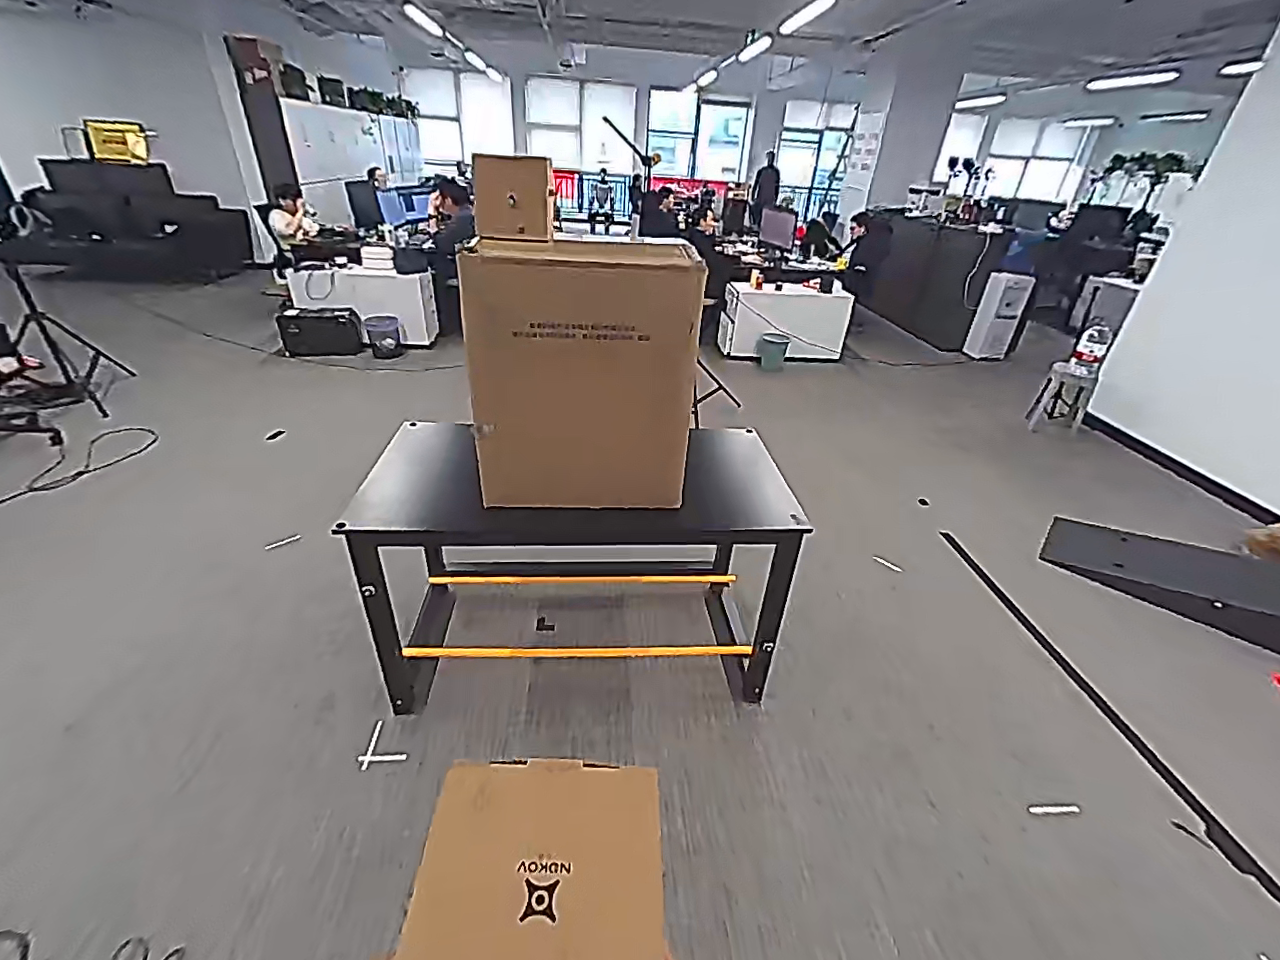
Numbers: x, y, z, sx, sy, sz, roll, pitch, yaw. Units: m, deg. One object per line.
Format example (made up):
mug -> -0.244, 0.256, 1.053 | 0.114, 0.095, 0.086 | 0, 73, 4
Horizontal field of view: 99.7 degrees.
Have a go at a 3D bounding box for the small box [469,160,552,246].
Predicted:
small box -> -0.298, -0.655, 1.279 | 0.168, 0.176, 0.179 | 1, 30, -6

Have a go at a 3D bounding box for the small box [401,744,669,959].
small box -> -0.072, 0.334, 0.414 | 0.168, 0.176, 0.179 | 4, 34, -4
